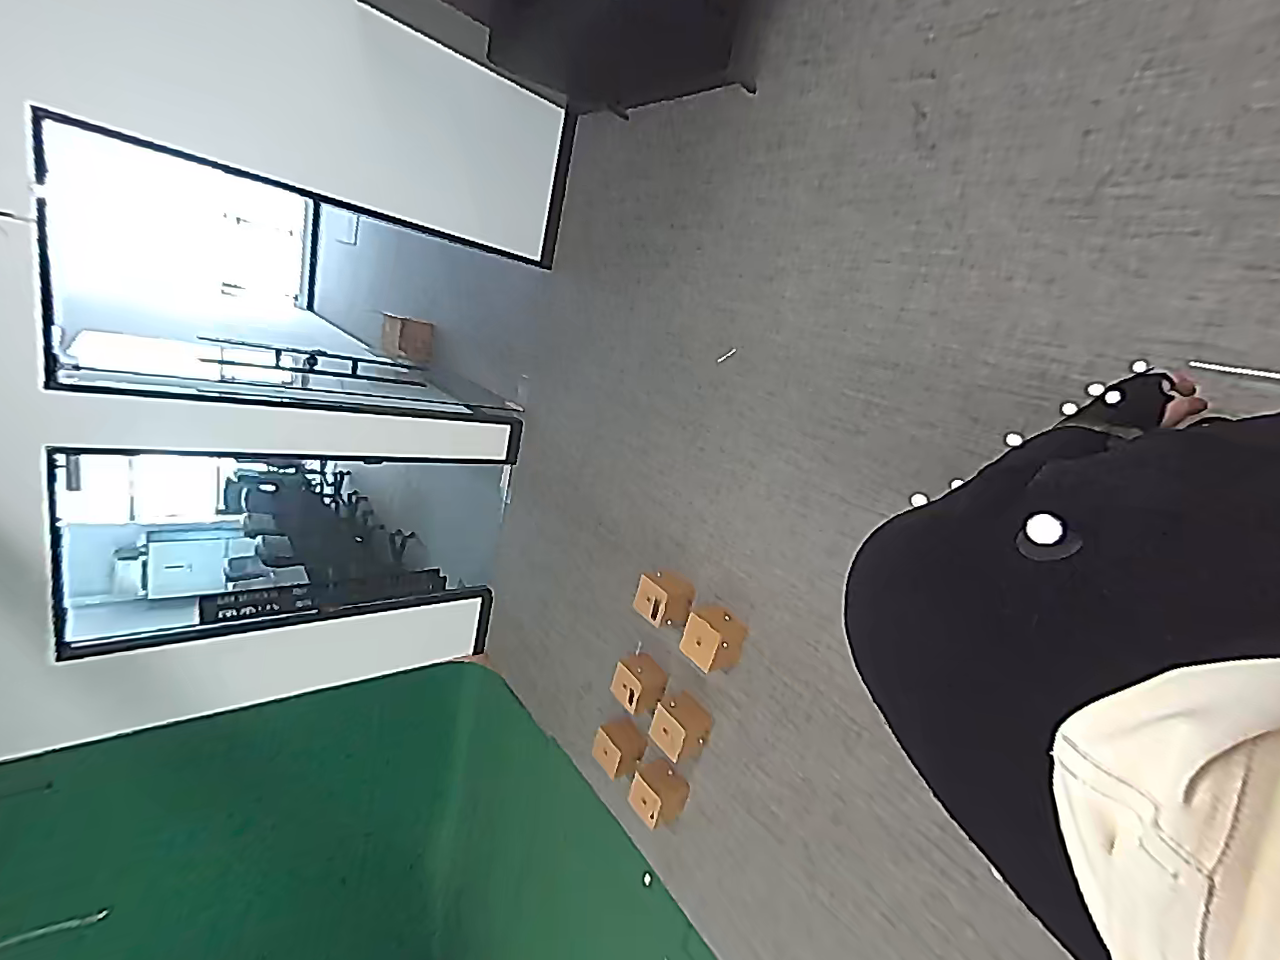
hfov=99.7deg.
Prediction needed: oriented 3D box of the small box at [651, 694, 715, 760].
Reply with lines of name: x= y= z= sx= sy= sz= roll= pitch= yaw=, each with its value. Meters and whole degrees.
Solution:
small box: x=0.177 y=1.008 z=2.228 sx=0.179 sy=0.176 sz=0.168 roll=32 pitch=114 yaw=45

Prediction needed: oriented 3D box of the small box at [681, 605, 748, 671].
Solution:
small box: x=0.292 y=0.608 z=2.101 sx=0.168 sy=0.176 sz=0.179 roll=32 pitch=113 yaw=44

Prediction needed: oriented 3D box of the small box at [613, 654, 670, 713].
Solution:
small box: x=0.009 y=0.903 z=2.423 sx=0.179 sy=0.176 sz=0.168 roll=33 pitch=114 yaw=45

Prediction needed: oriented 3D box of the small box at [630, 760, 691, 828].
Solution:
small box: x=0.089 y=1.341 z=2.327 sx=0.179 sy=0.176 sz=0.168 roll=31 pitch=113 yaw=46
